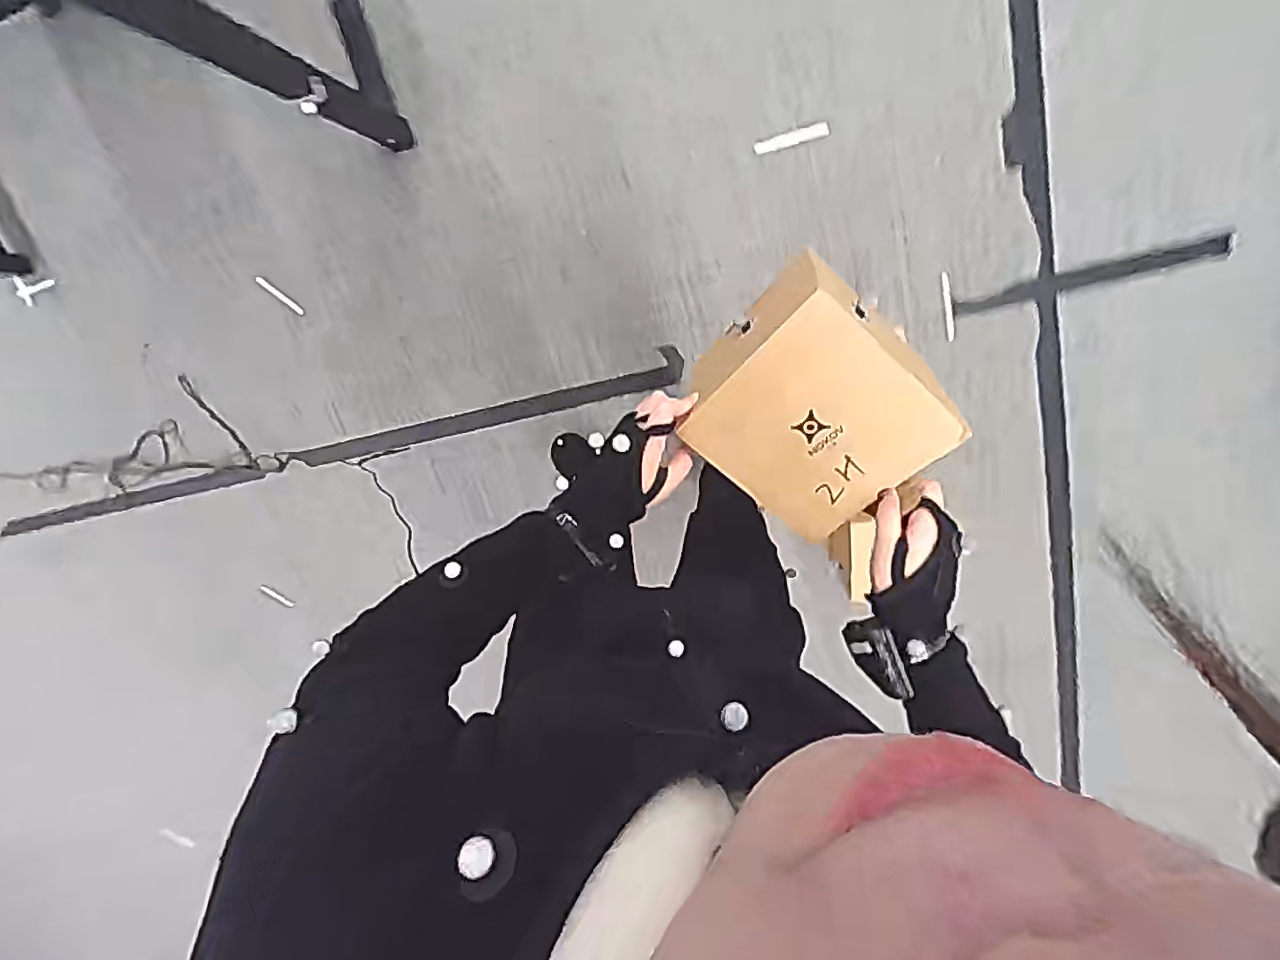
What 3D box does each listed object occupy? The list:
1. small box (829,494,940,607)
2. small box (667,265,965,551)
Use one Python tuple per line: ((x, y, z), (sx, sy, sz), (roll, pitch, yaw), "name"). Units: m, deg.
((0.497, 0.143, 1.122), (0.168, 0.176, 0.179), (-4, 108, 7), "small box")
((0.151, -0.075, 0.504), (0.179, 0.176, 0.168), (38, 123, -13), "small box")
